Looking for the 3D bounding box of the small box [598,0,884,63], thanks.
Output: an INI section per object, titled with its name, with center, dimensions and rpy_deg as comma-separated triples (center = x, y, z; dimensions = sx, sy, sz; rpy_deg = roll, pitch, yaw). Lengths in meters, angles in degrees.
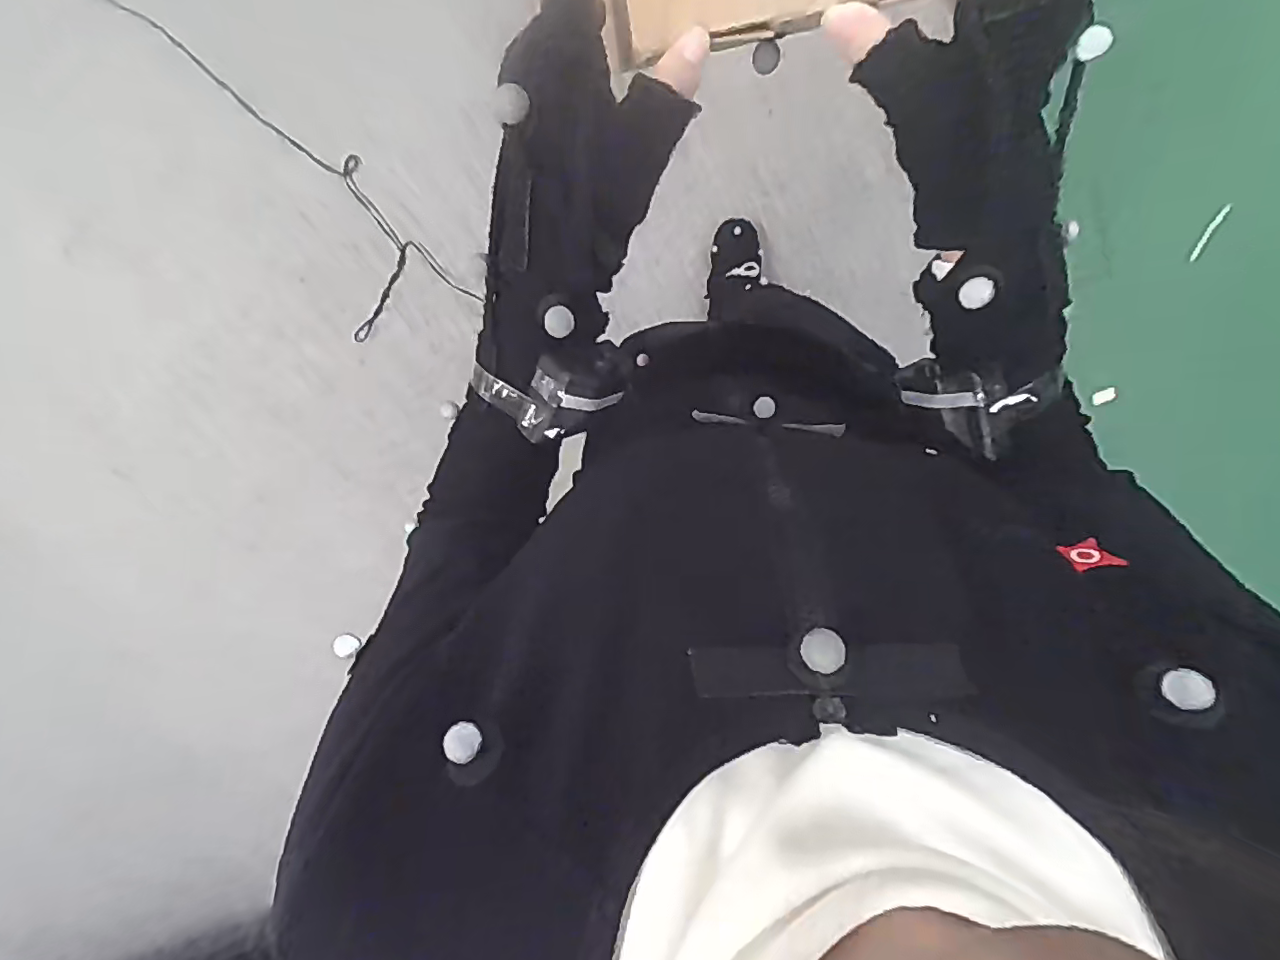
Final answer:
[small box]
center = 0.050, -0.313, 0.242
dimensions = 0.168, 0.176, 0.179
rpy_deg = -13, 126, 3
